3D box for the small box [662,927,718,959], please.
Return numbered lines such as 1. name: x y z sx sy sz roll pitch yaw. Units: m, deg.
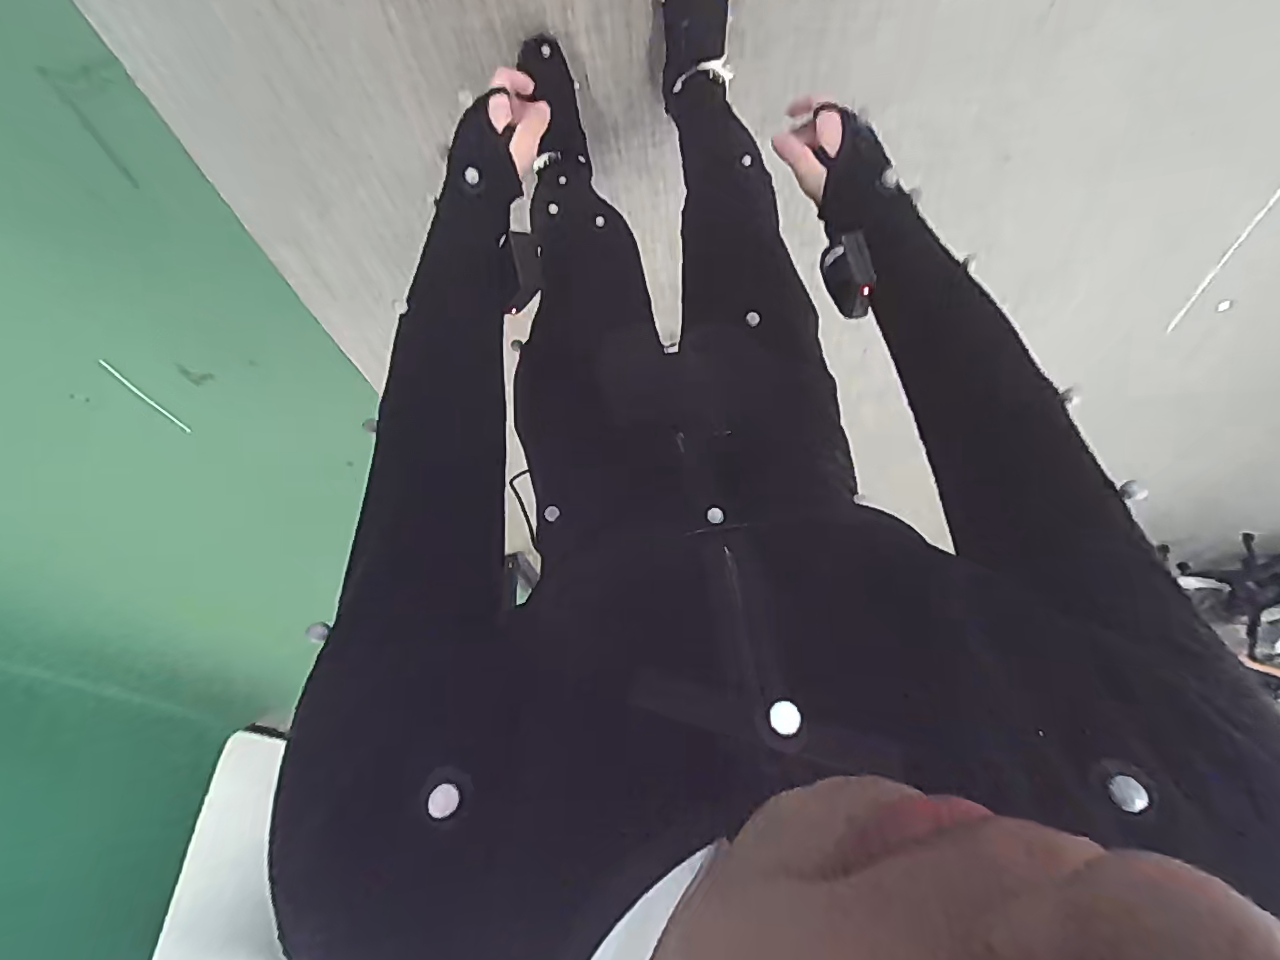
1. small box: 0.168 1.594 1.784 0.179 0.176 0.168 -8 146 5
